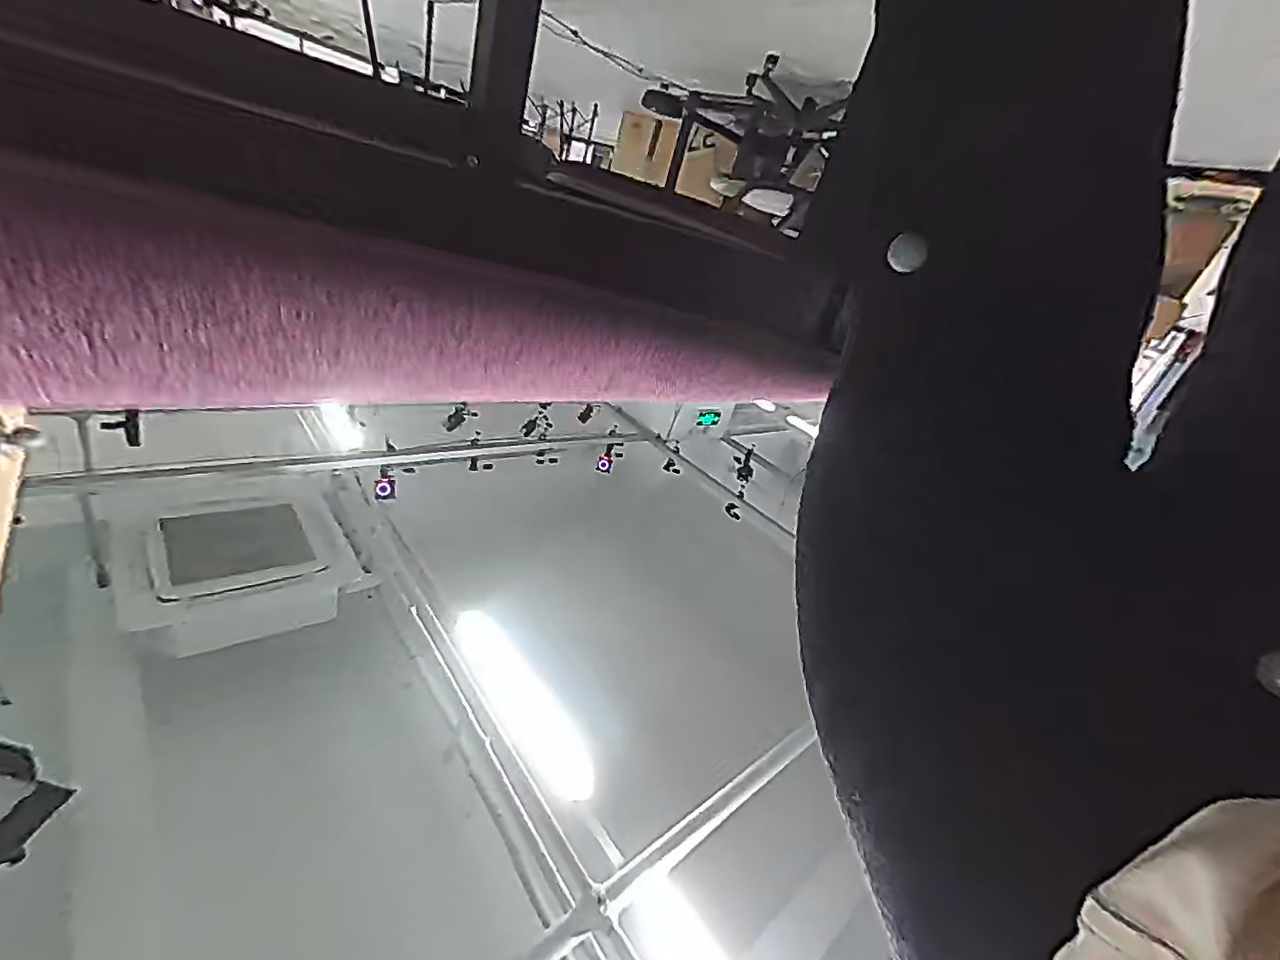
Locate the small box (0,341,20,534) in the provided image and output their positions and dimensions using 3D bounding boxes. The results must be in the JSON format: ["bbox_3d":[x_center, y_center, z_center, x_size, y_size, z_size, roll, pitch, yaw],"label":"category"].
[{"bbox_3d":[-0.386,-0.058,0.210,0.168,0.176,0.179,-7,-145,-41],"label":"small box"}]
